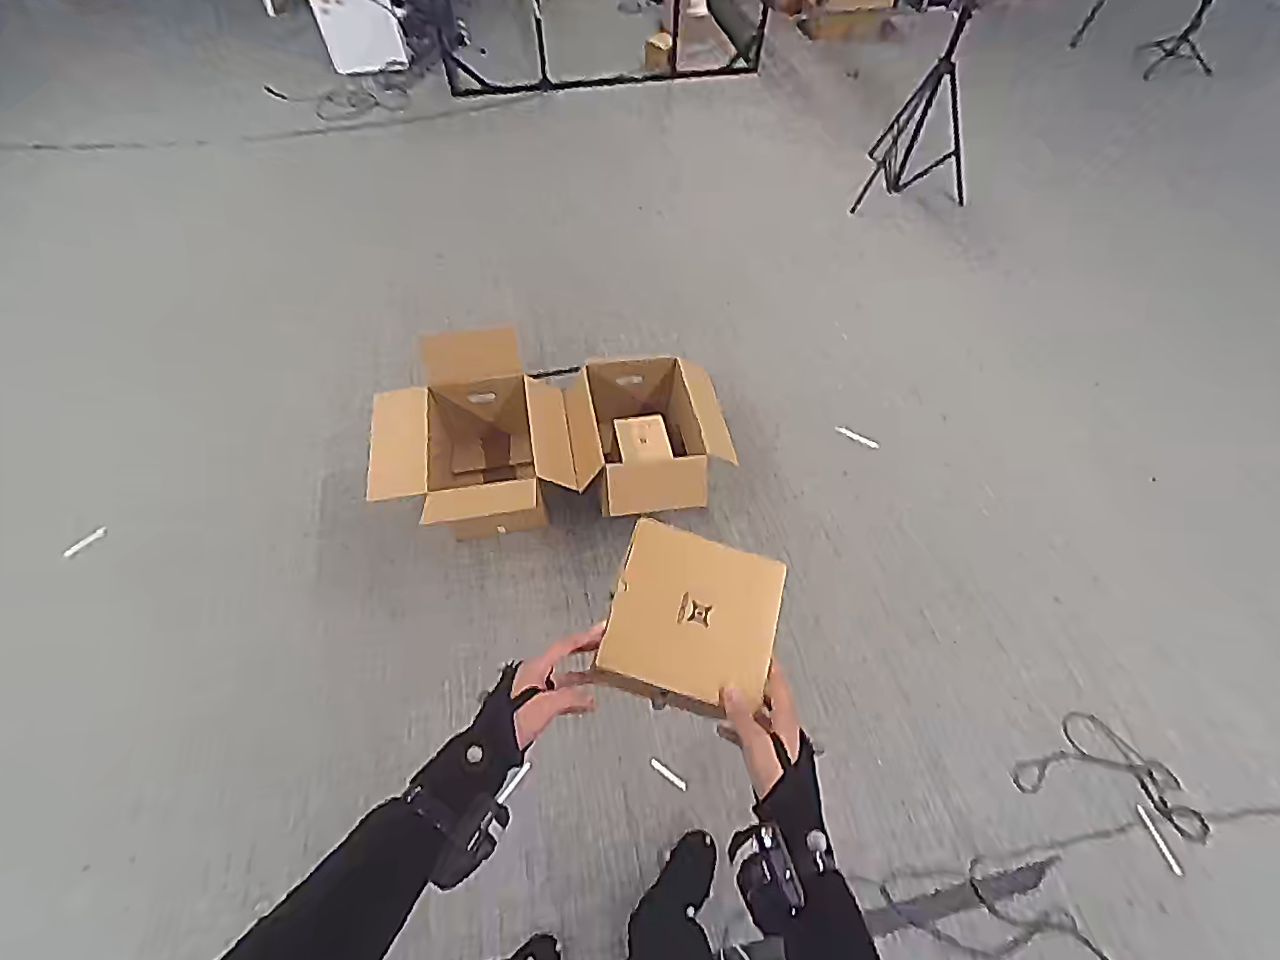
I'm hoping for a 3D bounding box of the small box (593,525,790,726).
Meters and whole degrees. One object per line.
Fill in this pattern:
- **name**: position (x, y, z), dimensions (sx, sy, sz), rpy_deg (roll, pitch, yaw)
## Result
- **small box**: position (0.052, 0.176, 0.636), dimensions (0.179, 0.176, 0.168), rpy_deg (17, 64, 2)
